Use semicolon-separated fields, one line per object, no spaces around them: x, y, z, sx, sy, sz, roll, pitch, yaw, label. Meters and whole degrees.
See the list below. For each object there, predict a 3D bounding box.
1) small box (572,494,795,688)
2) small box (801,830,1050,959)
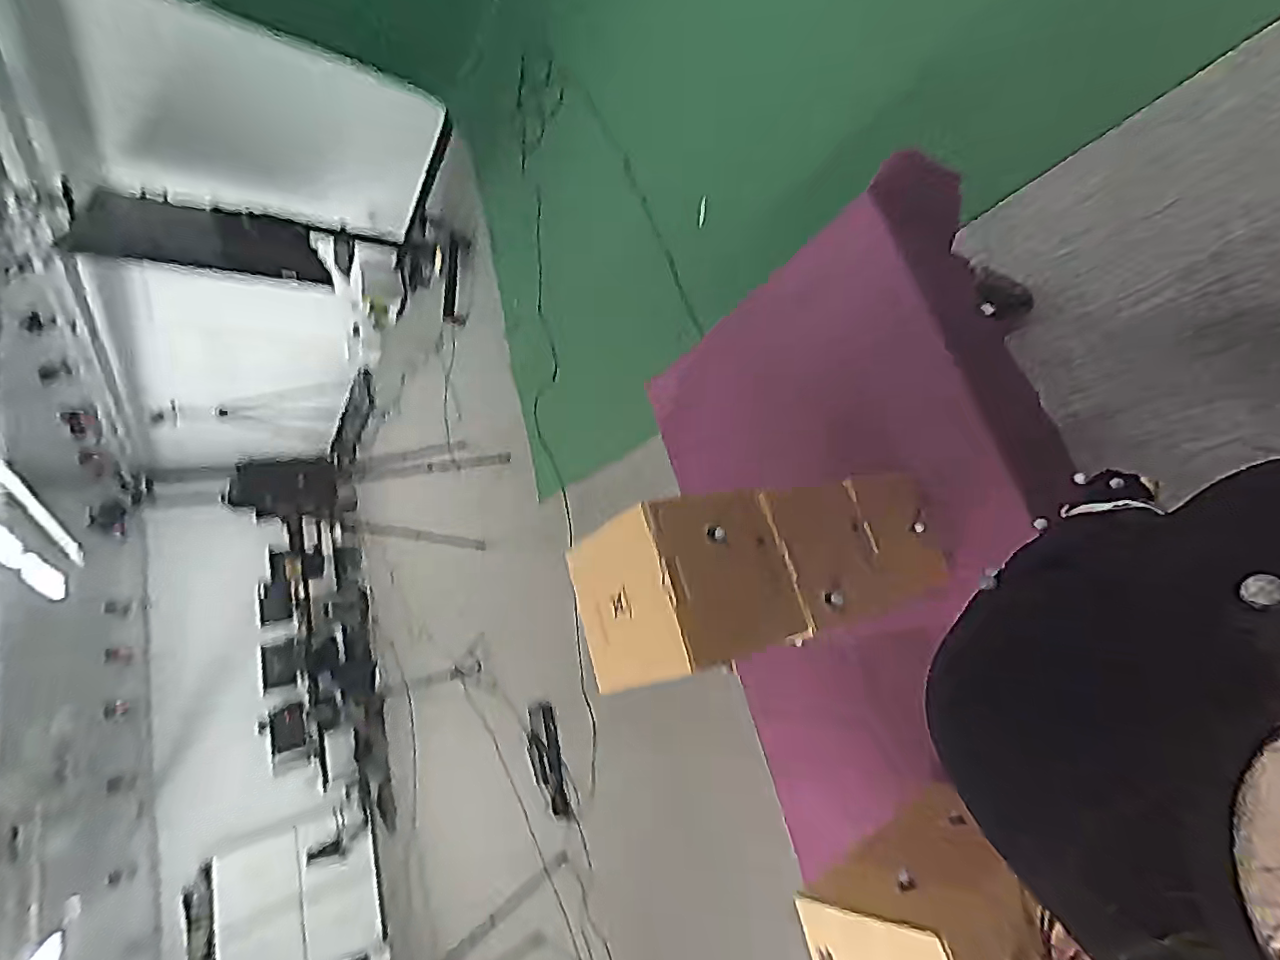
0.051;0.123;0.616;0.179;0.176;0.168;-37;64;49;small box
0.313;0.505;0.579;0.179;0.176;0.168;-34;66;48;small box
